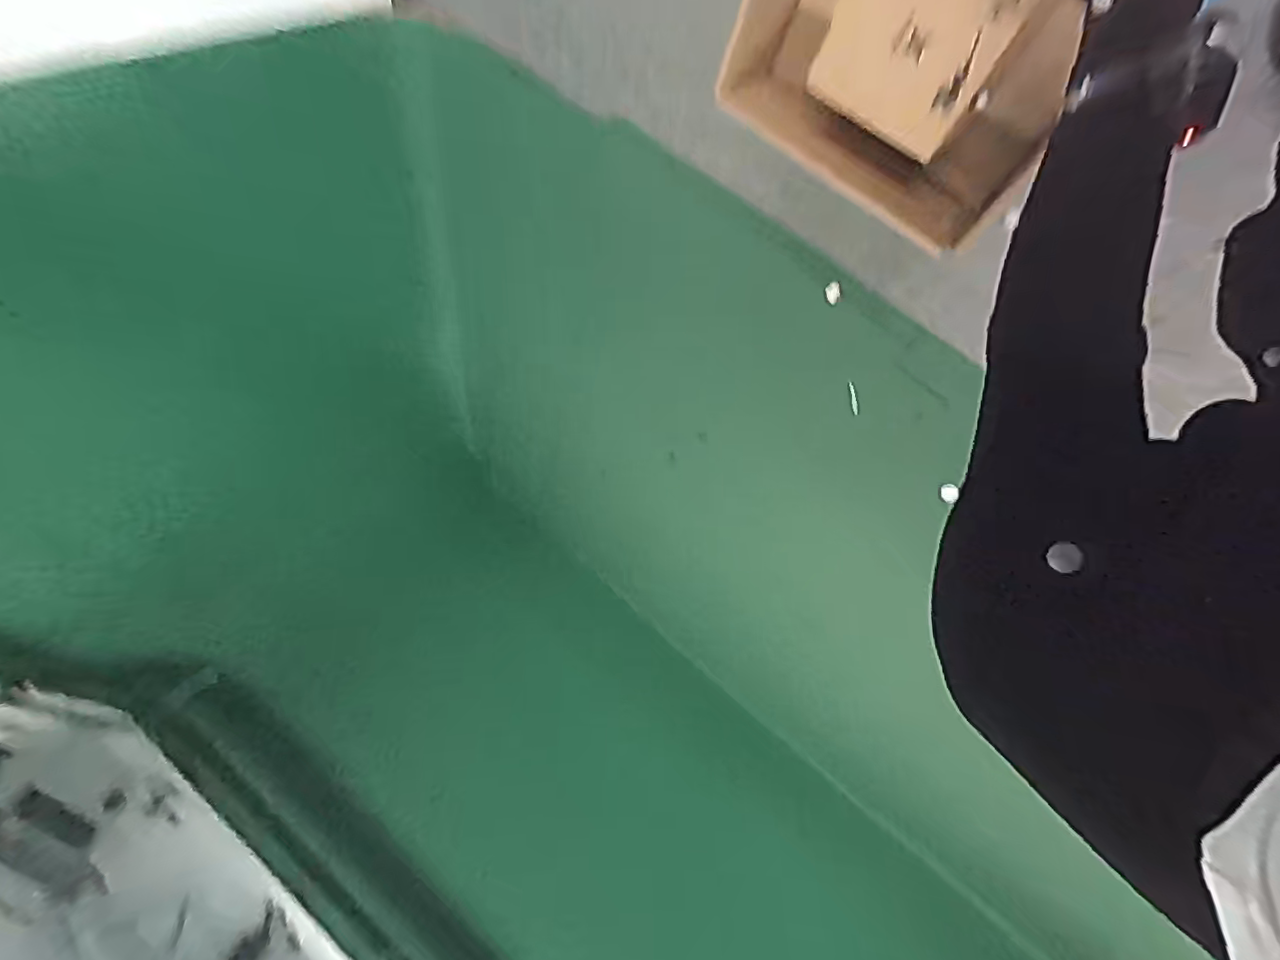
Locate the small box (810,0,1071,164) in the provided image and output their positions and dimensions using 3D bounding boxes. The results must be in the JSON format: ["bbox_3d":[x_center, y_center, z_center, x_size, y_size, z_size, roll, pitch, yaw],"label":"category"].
[{"bbox_3d":[0.335,-0.499,0.608,0.179,0.176,0.168,42,148,10],"label":"small box"}]
